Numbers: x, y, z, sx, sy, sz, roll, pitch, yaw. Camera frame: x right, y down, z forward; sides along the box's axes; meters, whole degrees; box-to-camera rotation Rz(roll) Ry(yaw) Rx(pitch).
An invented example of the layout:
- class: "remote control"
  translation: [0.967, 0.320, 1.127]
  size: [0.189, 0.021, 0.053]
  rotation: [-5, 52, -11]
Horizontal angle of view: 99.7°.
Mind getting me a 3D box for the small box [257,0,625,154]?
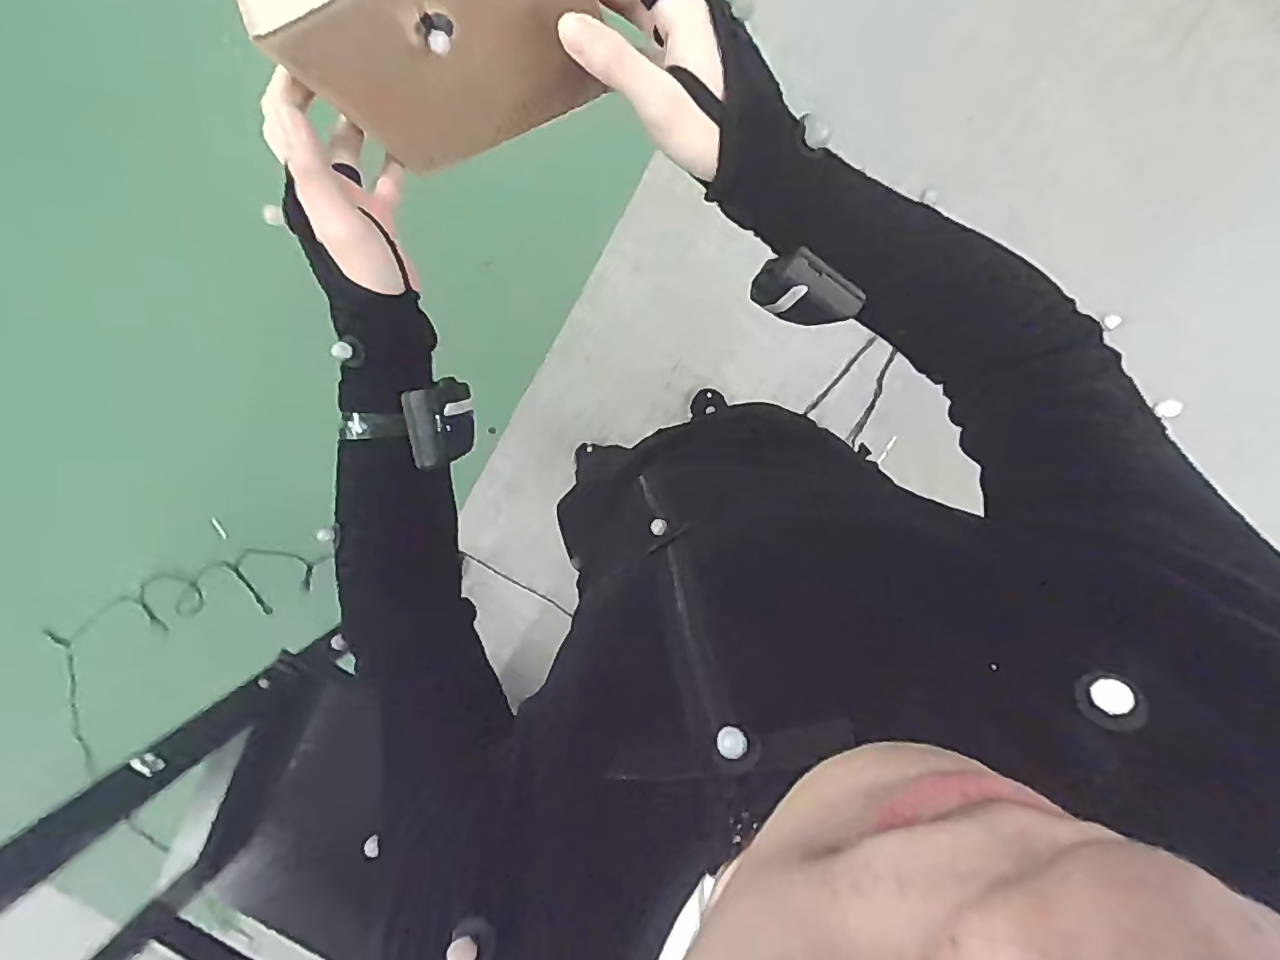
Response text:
- class: "small box"
  translation: [-0.124, -0.345, 0.337]
  size: [0.179, 0.176, 0.168]
  rotation: [-17, 95, 9]
